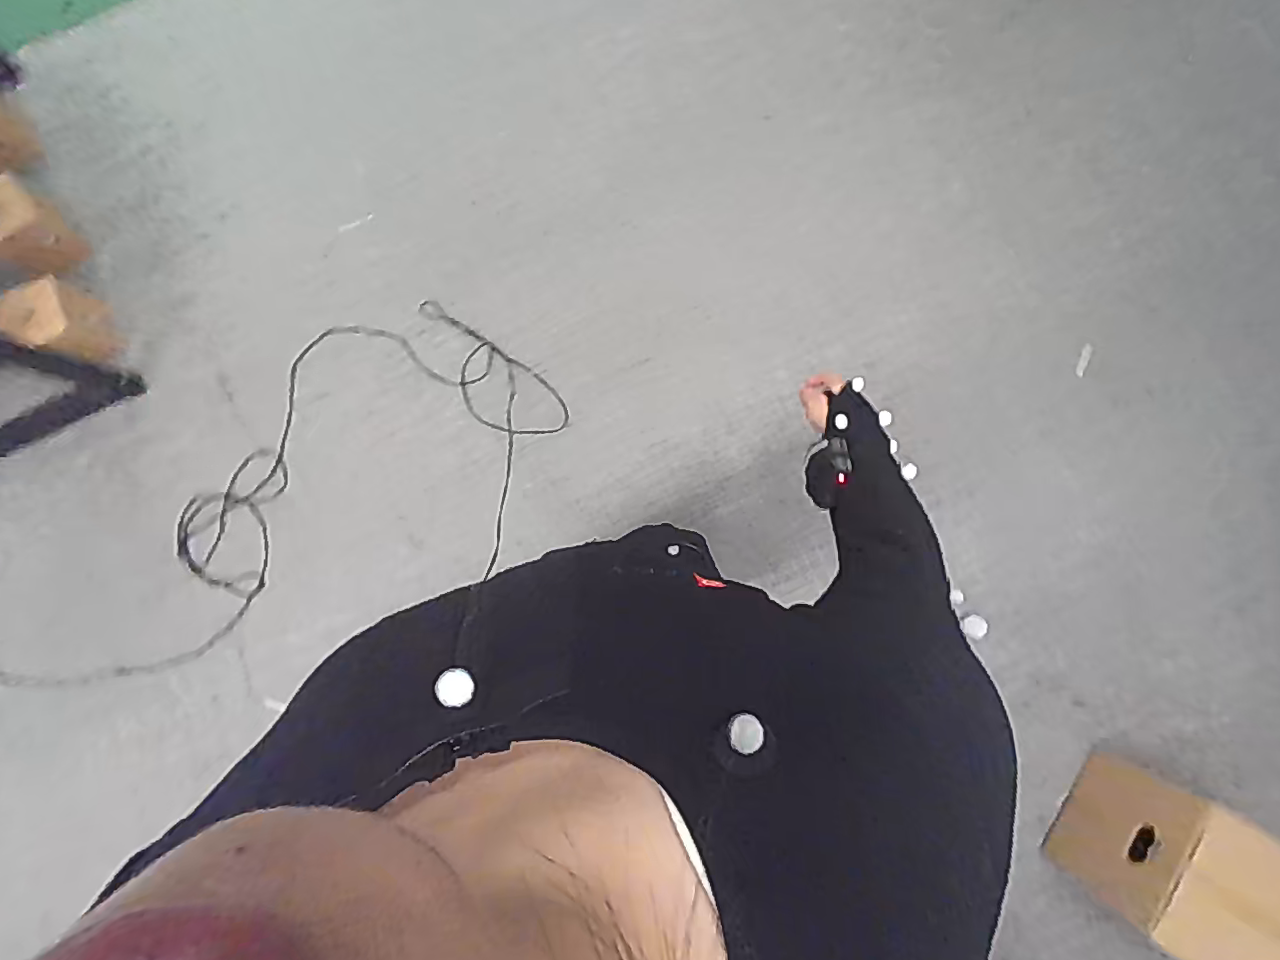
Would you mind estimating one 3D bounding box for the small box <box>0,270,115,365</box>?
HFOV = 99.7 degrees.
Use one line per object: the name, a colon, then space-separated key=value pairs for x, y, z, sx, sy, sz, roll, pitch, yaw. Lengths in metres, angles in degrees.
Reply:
small box: x=-1.605 y=-0.438 z=1.483 sx=0.179 sy=0.176 sz=0.168 roll=-21 pitch=85 yaw=-2
